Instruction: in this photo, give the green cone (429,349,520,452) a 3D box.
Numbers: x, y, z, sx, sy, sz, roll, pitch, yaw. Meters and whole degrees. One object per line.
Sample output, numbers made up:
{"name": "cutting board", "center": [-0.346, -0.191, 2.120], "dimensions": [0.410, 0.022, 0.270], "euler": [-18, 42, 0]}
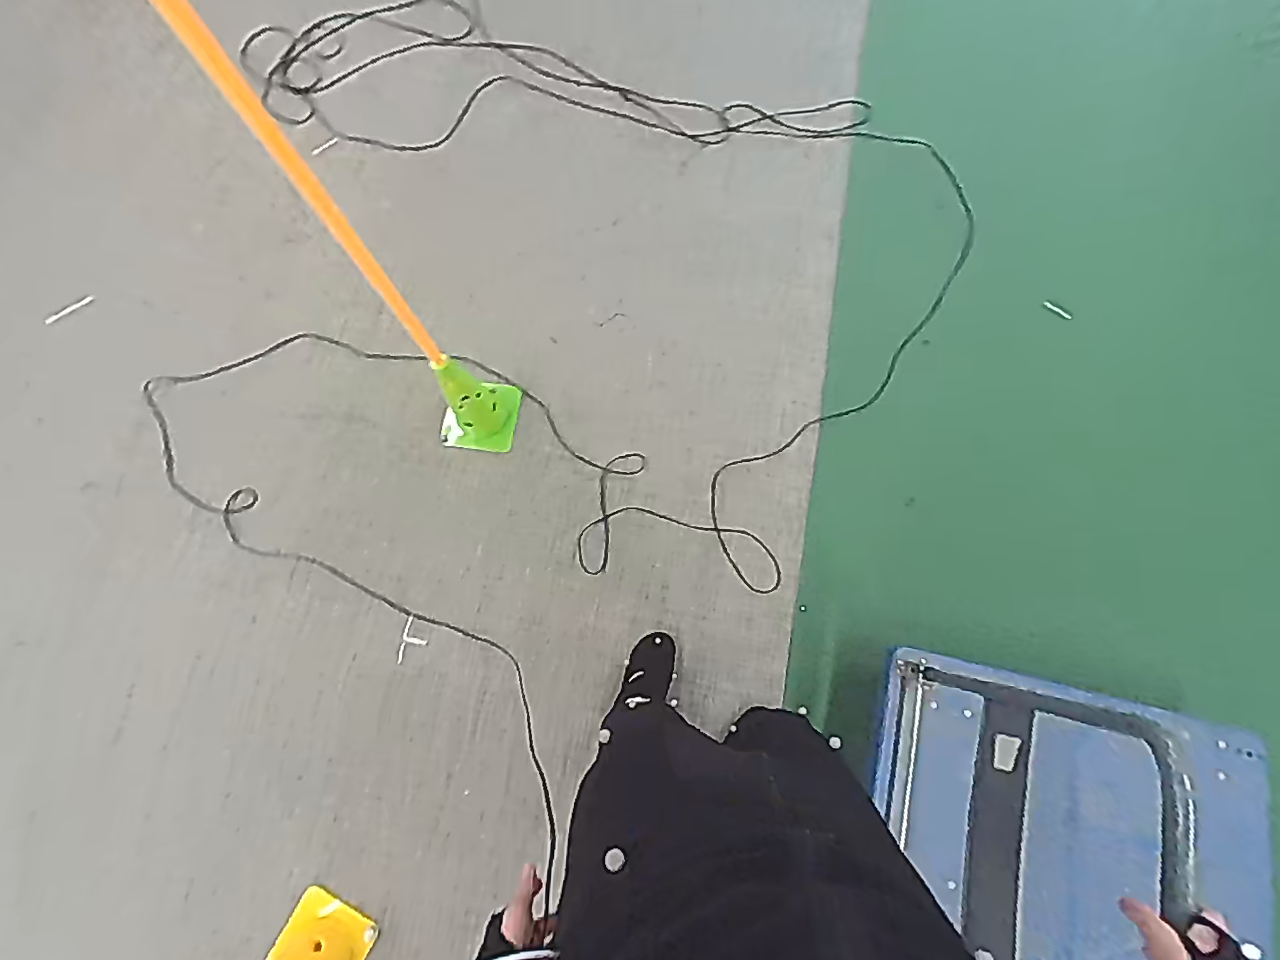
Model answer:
{"name": "green cone", "center": [-0.444, -0.222, 1.357], "dimensions": [0.200, 0.368, 0.202], "euler": [7, 75, 0]}
